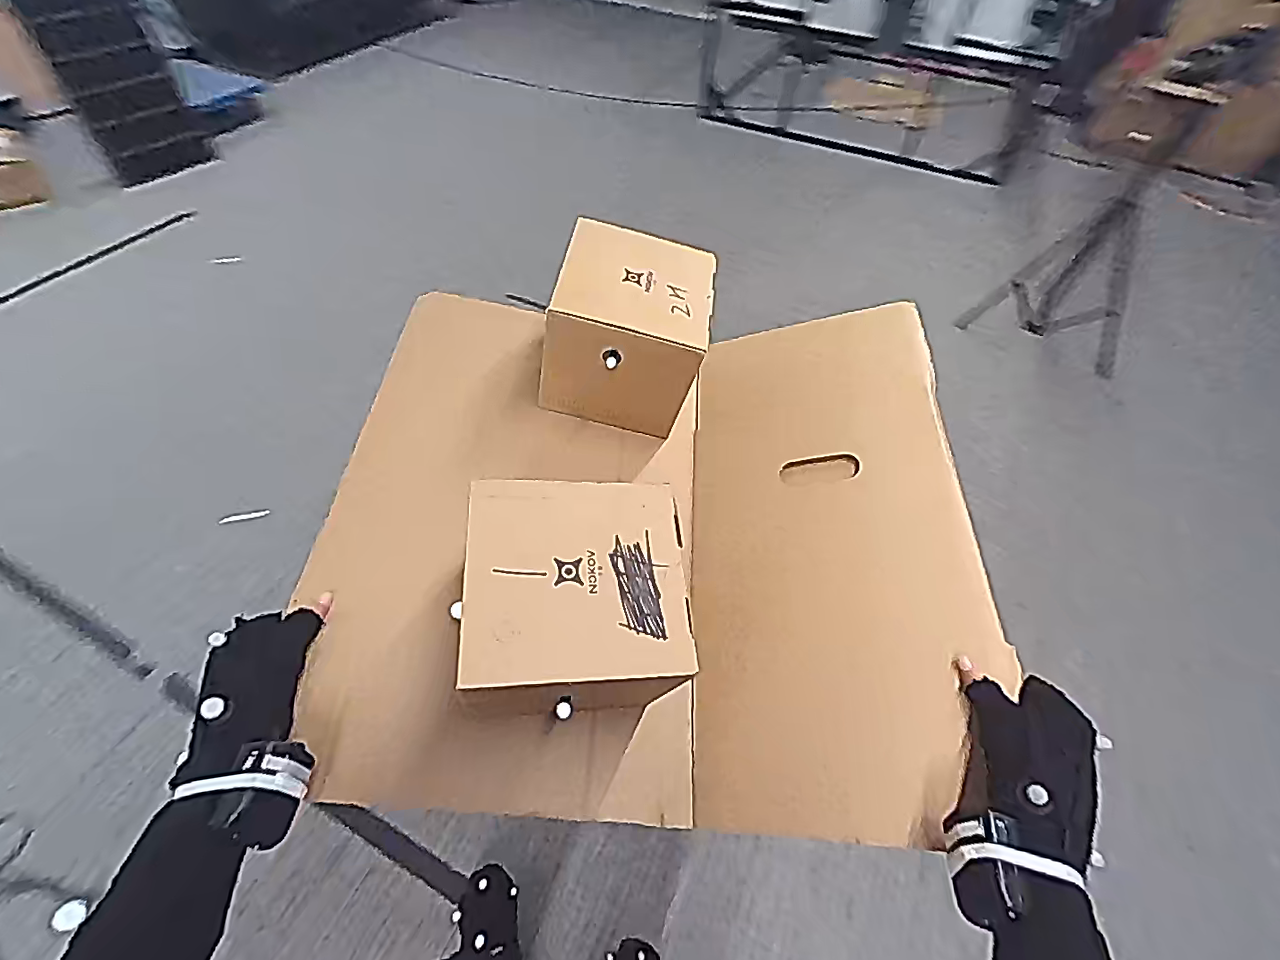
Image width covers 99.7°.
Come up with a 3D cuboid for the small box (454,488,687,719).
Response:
[{"bbox_3d":[-0.072,0.120,0.502,0.179,0.176,0.168,1,60,-14],"label":"small box"}]
